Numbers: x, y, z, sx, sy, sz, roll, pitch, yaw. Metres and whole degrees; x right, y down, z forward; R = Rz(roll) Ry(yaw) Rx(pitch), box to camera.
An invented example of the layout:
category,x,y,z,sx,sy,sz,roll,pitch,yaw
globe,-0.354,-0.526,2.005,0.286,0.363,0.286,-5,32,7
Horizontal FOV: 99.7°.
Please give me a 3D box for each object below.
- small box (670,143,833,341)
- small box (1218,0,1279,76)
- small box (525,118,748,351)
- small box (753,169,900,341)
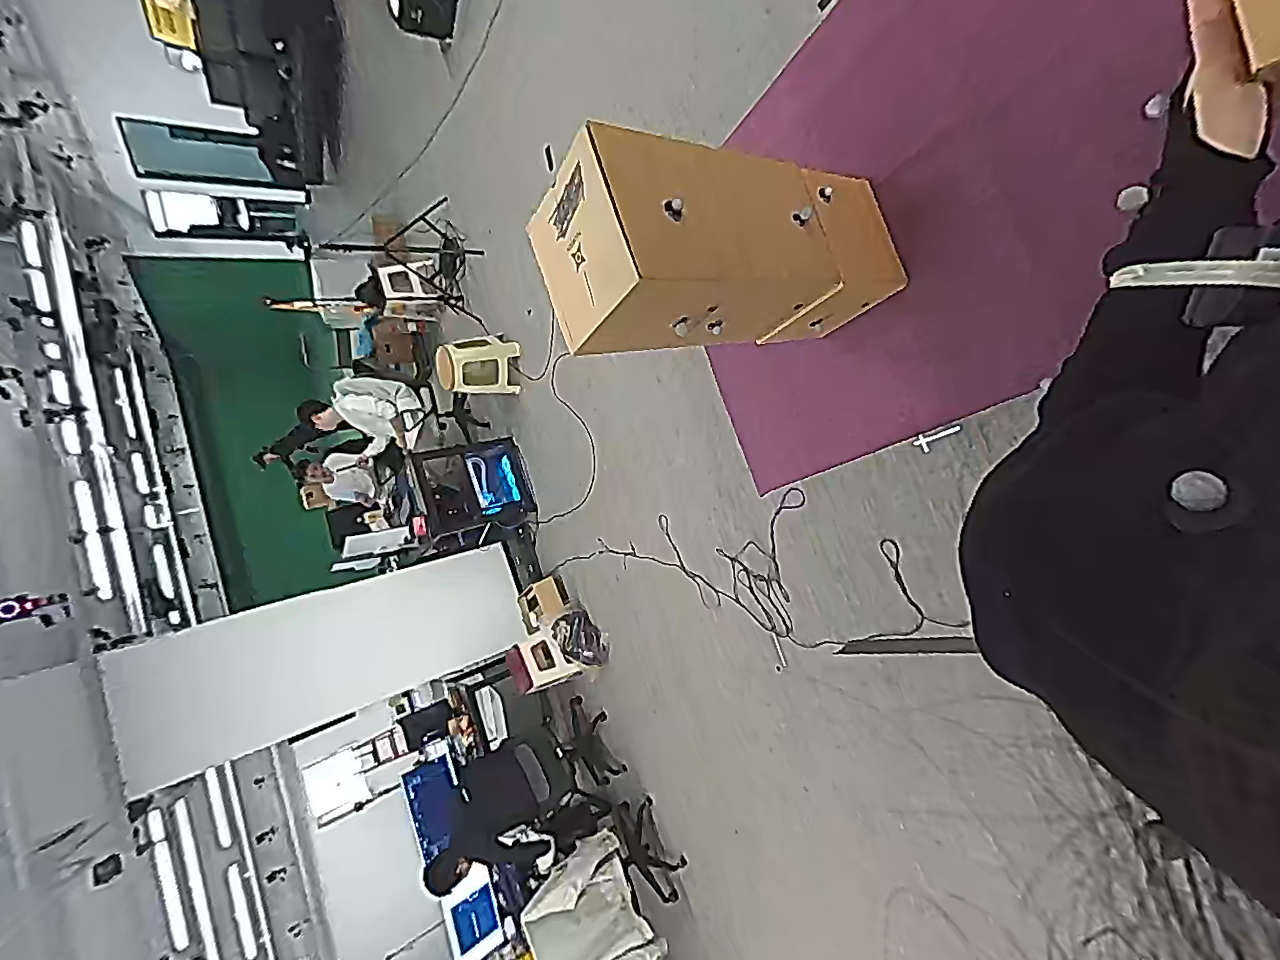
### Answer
category,x,y,z,sx,sy,sz,roll,pitch,yaw
small box,0.122,-0.302,0.724,0.168,0.176,0.179,-28,78,55
small box,0.386,-0.332,0.253,0.168,0.176,0.179,-16,94,56
small box,-0.007,-0.268,0.627,0.168,0.176,0.179,-27,80,55
small box,0.256,-0.331,0.815,0.168,0.176,0.179,-27,79,55
